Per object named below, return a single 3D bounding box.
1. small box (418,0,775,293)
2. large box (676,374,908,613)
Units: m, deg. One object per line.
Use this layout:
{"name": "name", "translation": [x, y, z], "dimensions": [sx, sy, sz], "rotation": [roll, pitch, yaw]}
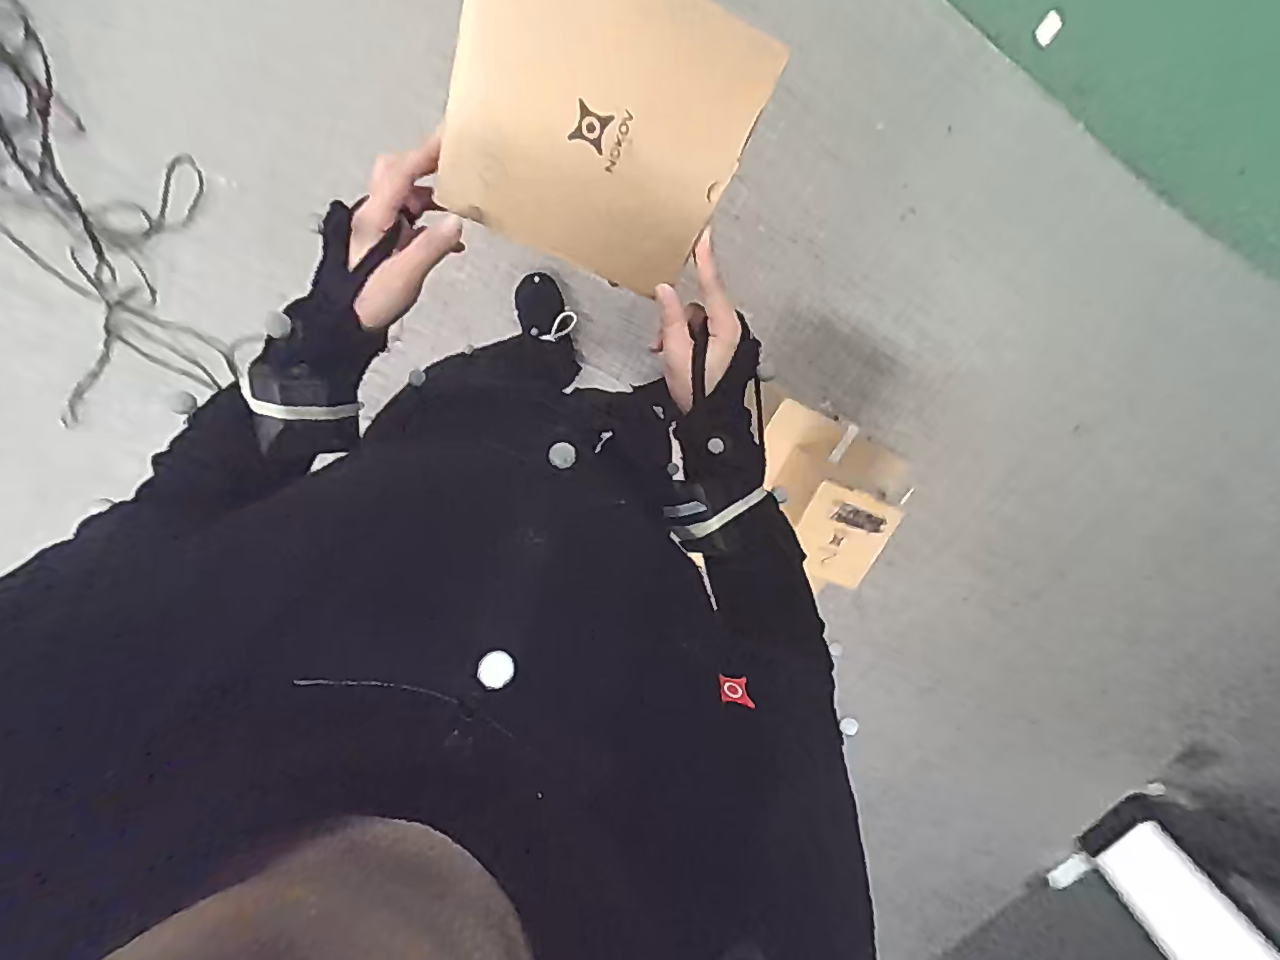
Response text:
{"name": "small box", "translation": [-0.034, -0.270, 0.386], "dimensions": [0.179, 0.176, 0.168], "rotation": [18, 131, -15]}
{"name": "large box", "translation": [0.318, 0.019, 1.259], "dimensions": [0.320, 0.320, 0.408], "rotation": [25, 110, -10]}
